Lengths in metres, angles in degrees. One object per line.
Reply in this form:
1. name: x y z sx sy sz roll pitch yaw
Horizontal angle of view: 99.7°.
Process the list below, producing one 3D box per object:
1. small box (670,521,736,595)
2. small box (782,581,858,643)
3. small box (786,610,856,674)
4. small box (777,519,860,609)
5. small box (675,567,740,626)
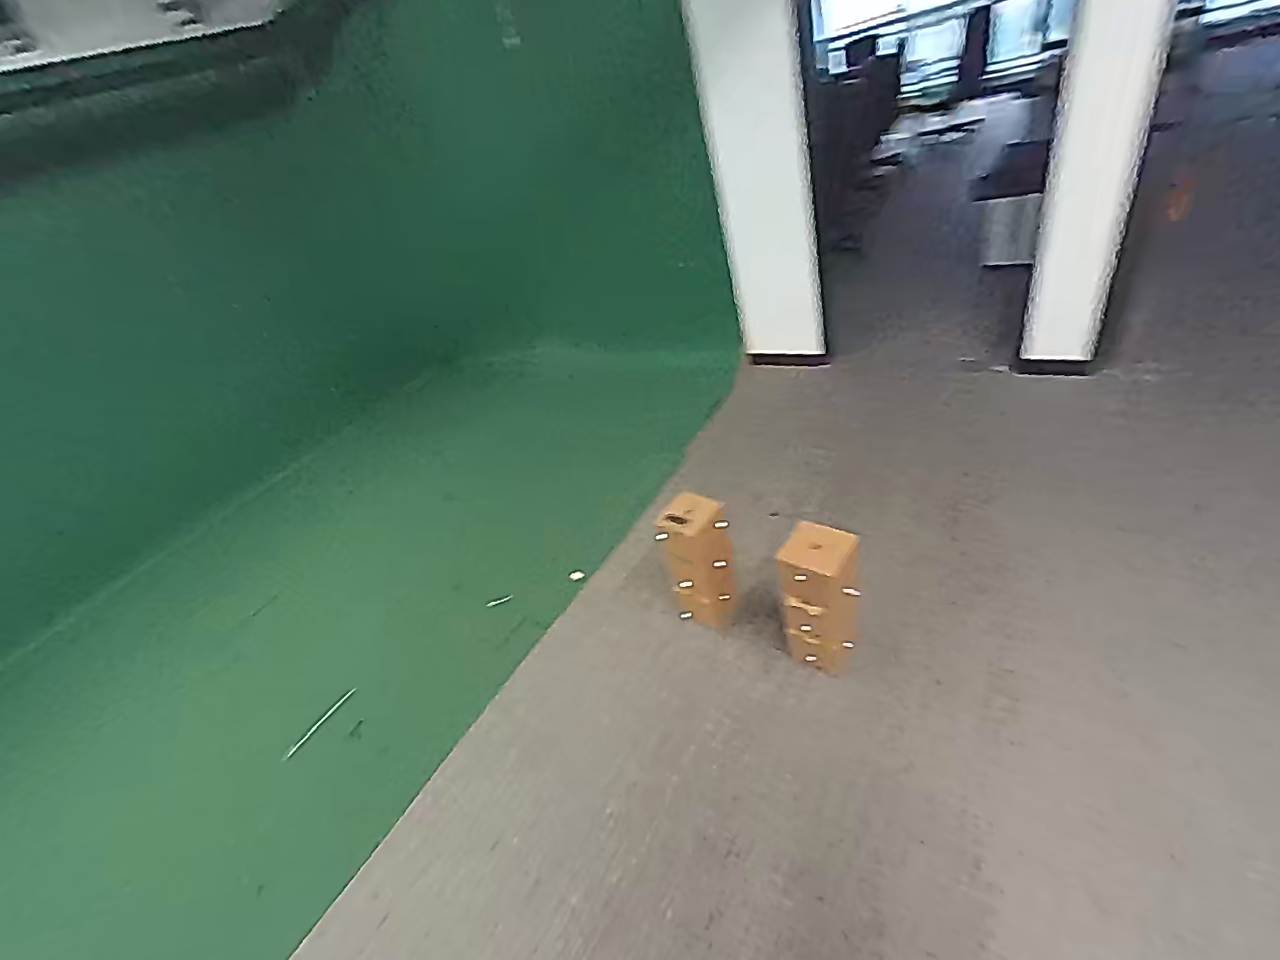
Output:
1. small box: 0.229 0.286 1.954 0.168 0.176 0.179 -25 36 -4
2. small box: 0.563 0.368 1.681 0.168 0.176 0.179 19 51 41
3. small box: 0.602 0.499 1.773 0.168 0.176 0.179 15 49 37
4. small box: 0.525 0.246 1.579 0.179 0.176 0.168 19 51 40
5. small box: 0.261 0.415 2.035 0.168 0.176 0.179 18 49 39
